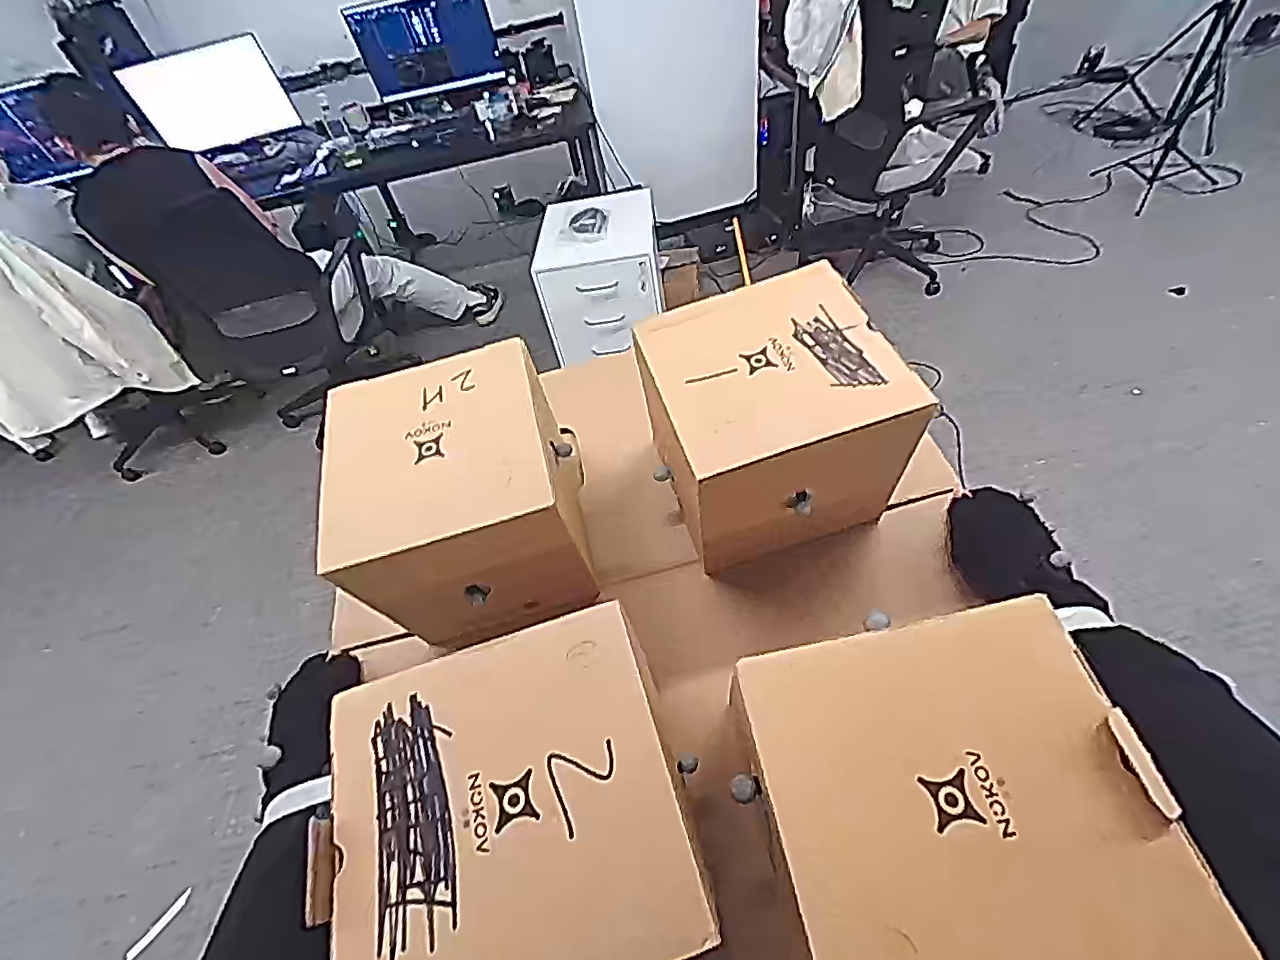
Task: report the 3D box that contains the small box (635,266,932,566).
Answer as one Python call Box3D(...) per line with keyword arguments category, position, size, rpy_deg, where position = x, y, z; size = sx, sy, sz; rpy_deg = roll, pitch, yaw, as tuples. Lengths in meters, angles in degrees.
Box3D(category="small box", position=(0.108, -0.047, 0.474), size=(0.179, 0.176, 0.168), rpy_deg=(-18, 57, -1))

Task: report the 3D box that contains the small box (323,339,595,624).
Box3D(category="small box", position=(-0.145, 0.013, 0.477), size=(0.168, 0.176, 0.179), rpy_deg=(-15, 57, -2))
